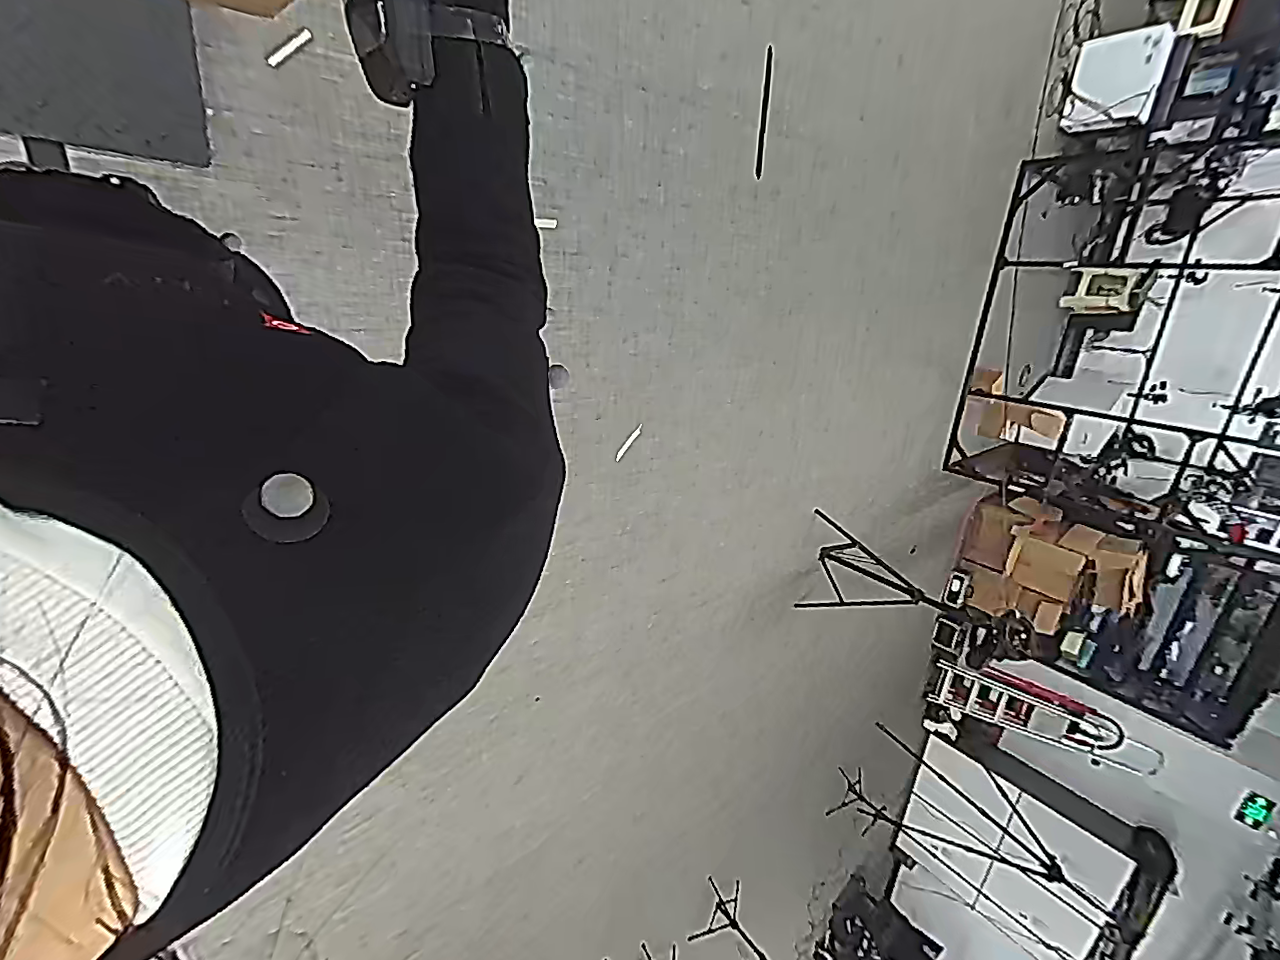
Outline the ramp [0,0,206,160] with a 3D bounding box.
[{"bbox_3d":[-0.925,-1.016,0.678,0.509,0.206,0.991,-13,116,-39],"label":"ramp"}]
